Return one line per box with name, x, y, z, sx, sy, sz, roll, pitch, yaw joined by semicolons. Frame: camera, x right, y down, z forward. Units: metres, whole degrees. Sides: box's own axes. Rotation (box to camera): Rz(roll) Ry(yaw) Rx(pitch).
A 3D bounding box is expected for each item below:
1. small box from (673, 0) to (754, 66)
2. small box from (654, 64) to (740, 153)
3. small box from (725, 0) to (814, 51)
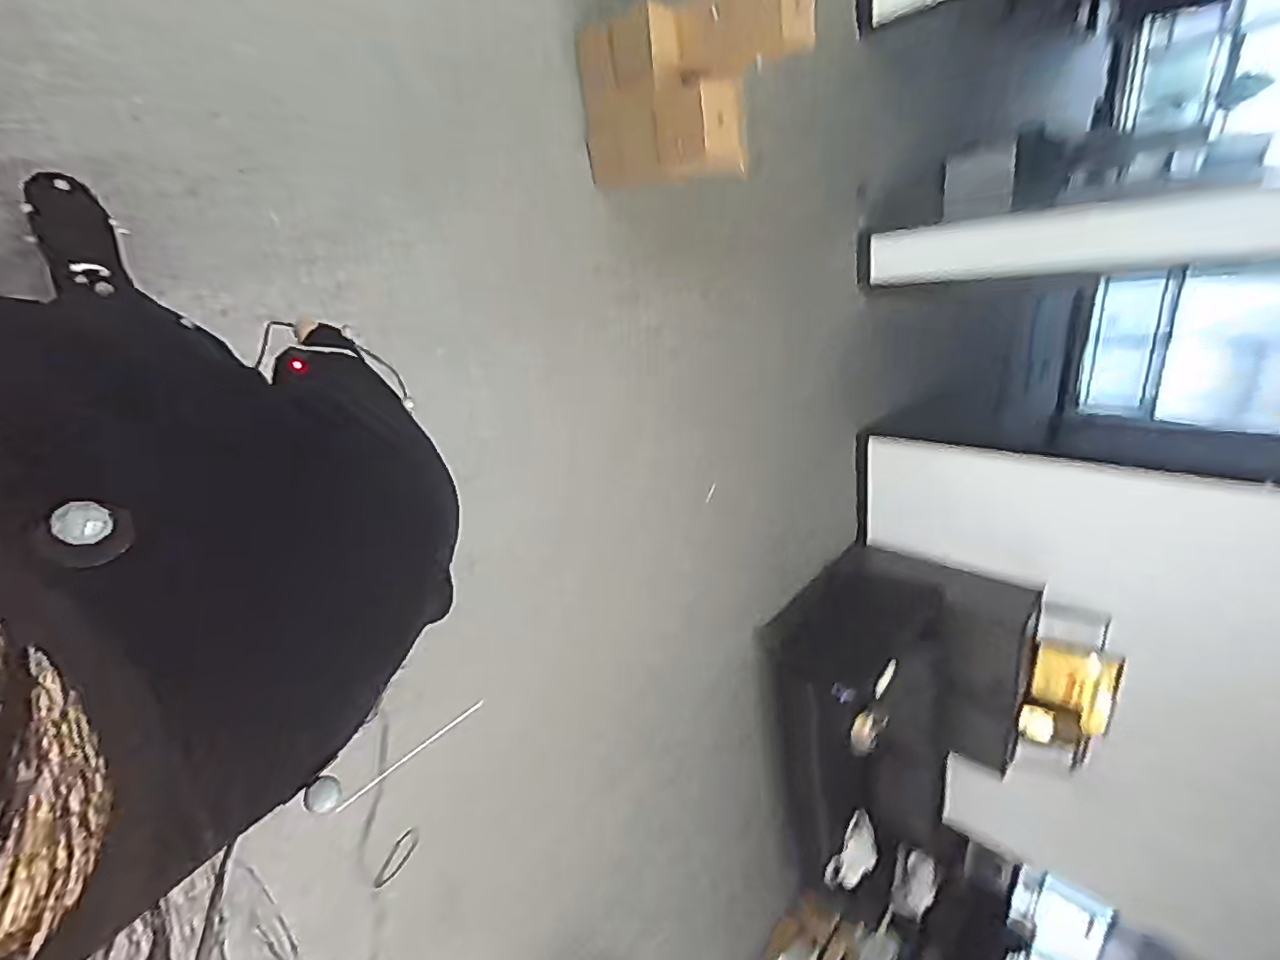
small box;0.213;-1.280;1.499;0.179;0.176;0.168;-29;120;-39
small box;0.159;-1.026;1.509;0.168;0.176;0.179;-31;121;-38
small box;0.329;-1.246;1.386;0.168;0.176;0.179;-29;120;-38
